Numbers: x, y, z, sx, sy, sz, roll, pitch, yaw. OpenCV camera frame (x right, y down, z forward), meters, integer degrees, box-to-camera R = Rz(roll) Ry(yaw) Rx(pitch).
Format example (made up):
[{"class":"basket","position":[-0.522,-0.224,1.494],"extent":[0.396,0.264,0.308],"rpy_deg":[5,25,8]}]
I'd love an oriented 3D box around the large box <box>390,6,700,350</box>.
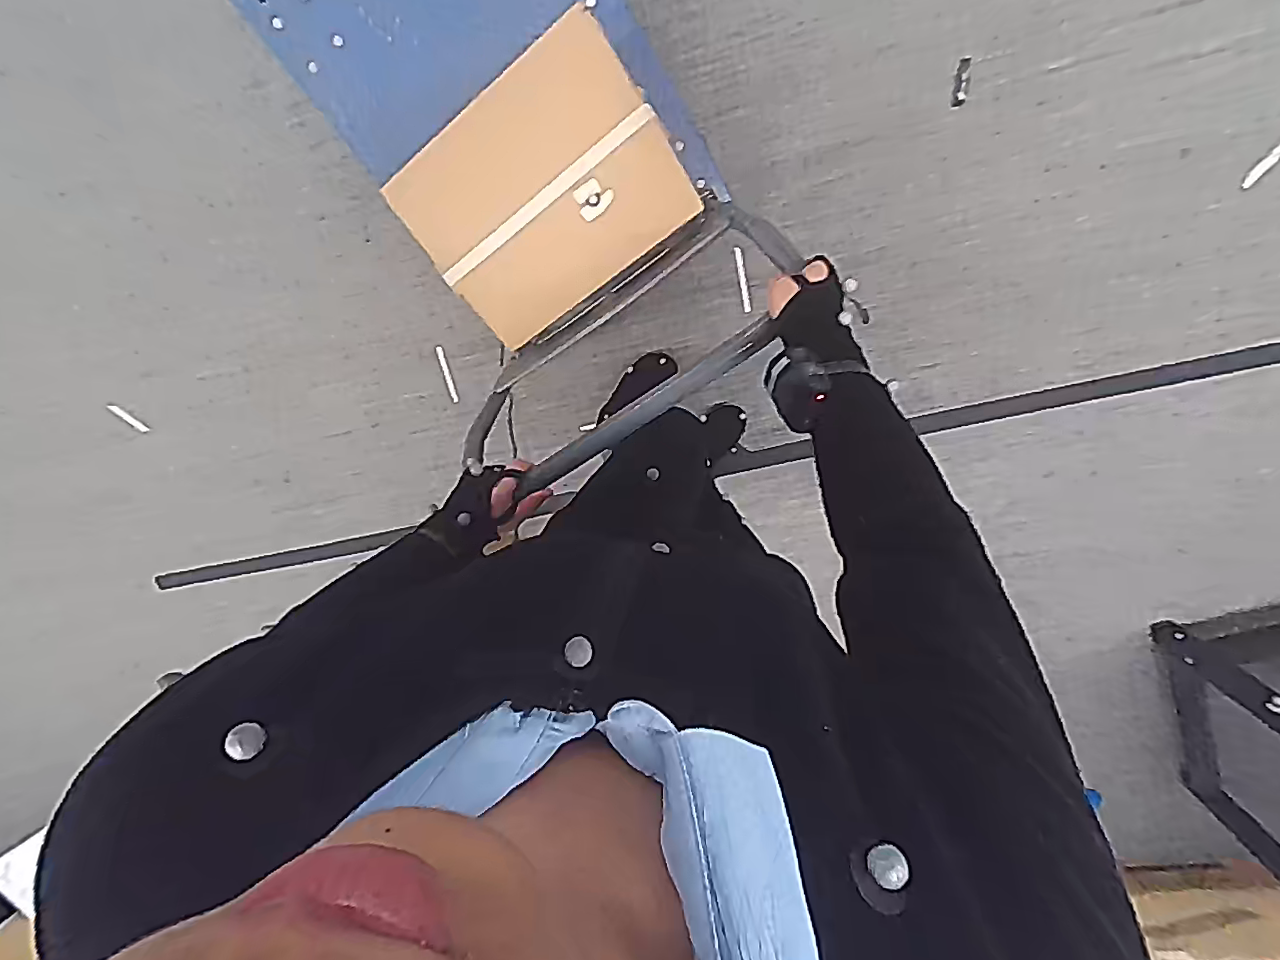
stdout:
[{"class":"large box","position":[-0.150,-0.507,0.982],"extent":[0.408,0.320,0.320],"rpy_deg":[-32,114,15]}]
